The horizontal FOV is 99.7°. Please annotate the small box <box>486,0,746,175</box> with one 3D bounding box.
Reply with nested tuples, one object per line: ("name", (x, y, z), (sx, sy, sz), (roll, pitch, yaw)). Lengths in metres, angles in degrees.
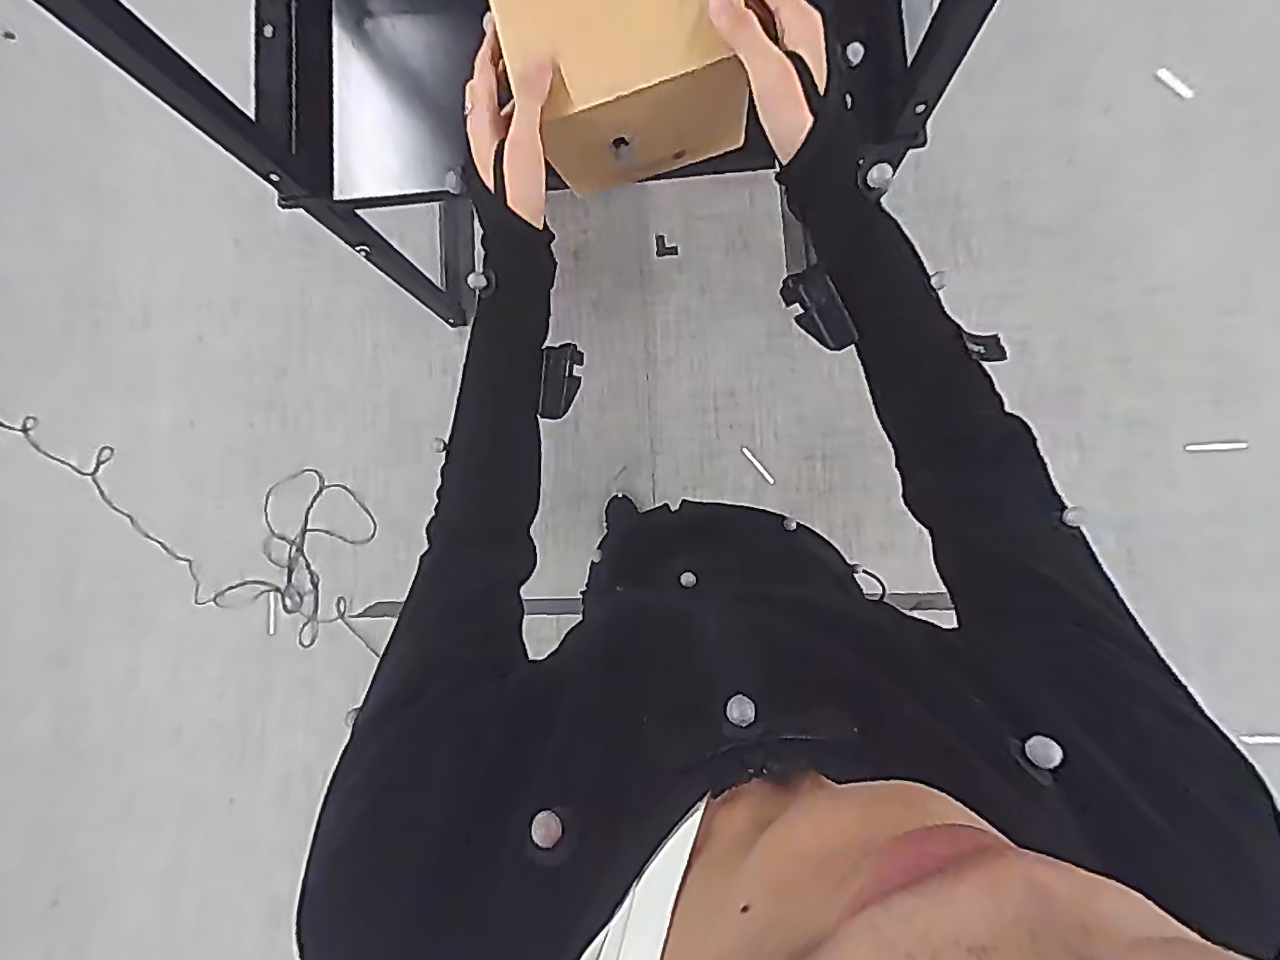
("small box", (-0.016, -0.366, 0.421), (0.168, 0.176, 0.179), (-13, 98, 10))
